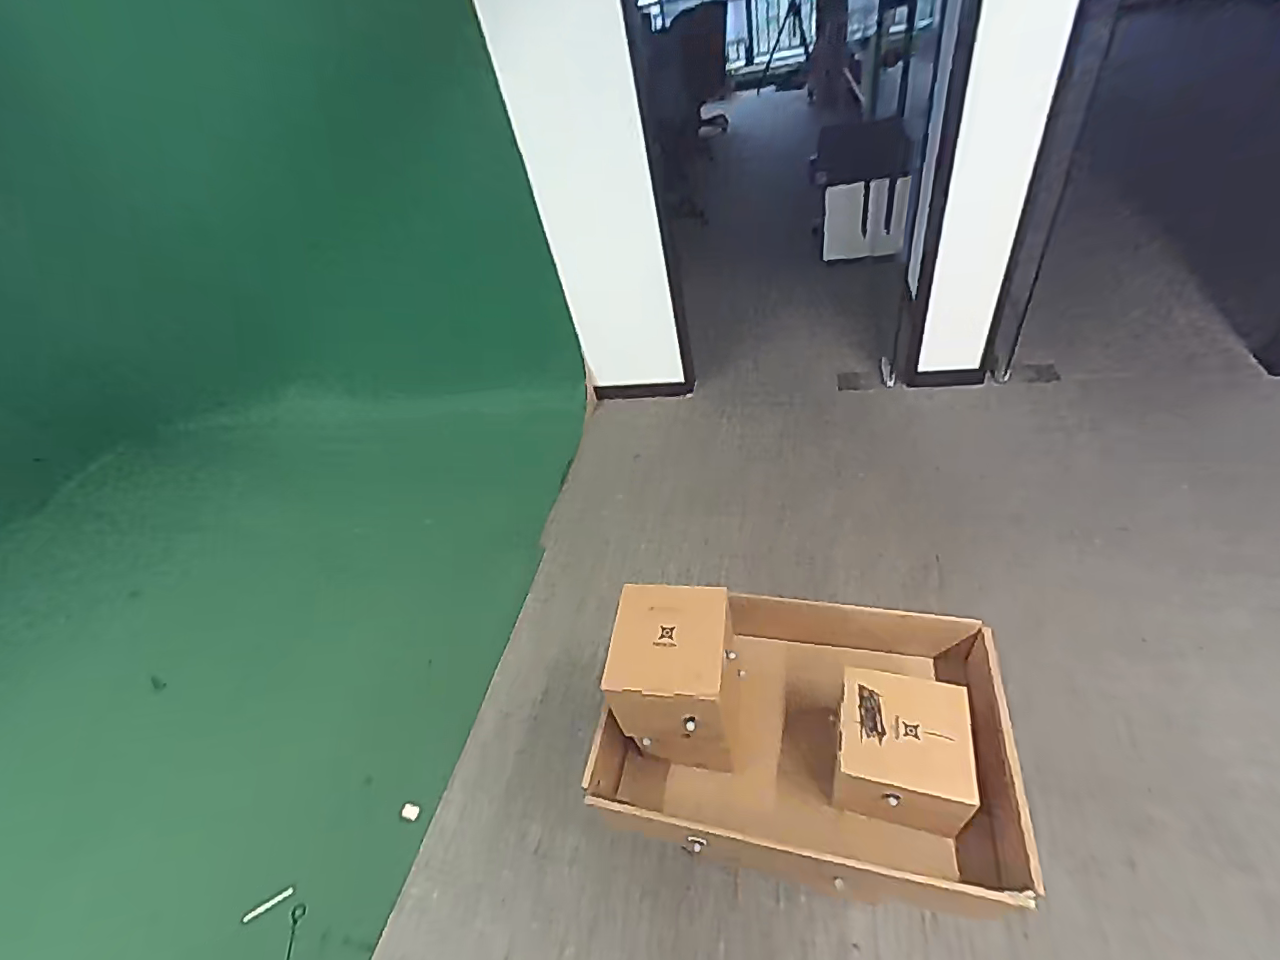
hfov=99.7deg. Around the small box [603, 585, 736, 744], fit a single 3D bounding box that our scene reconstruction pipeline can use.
[{"bbox_3d":[0.056,0.283,0.831,0.168,0.176,0.179,0,45,15],"label":"small box"}]
